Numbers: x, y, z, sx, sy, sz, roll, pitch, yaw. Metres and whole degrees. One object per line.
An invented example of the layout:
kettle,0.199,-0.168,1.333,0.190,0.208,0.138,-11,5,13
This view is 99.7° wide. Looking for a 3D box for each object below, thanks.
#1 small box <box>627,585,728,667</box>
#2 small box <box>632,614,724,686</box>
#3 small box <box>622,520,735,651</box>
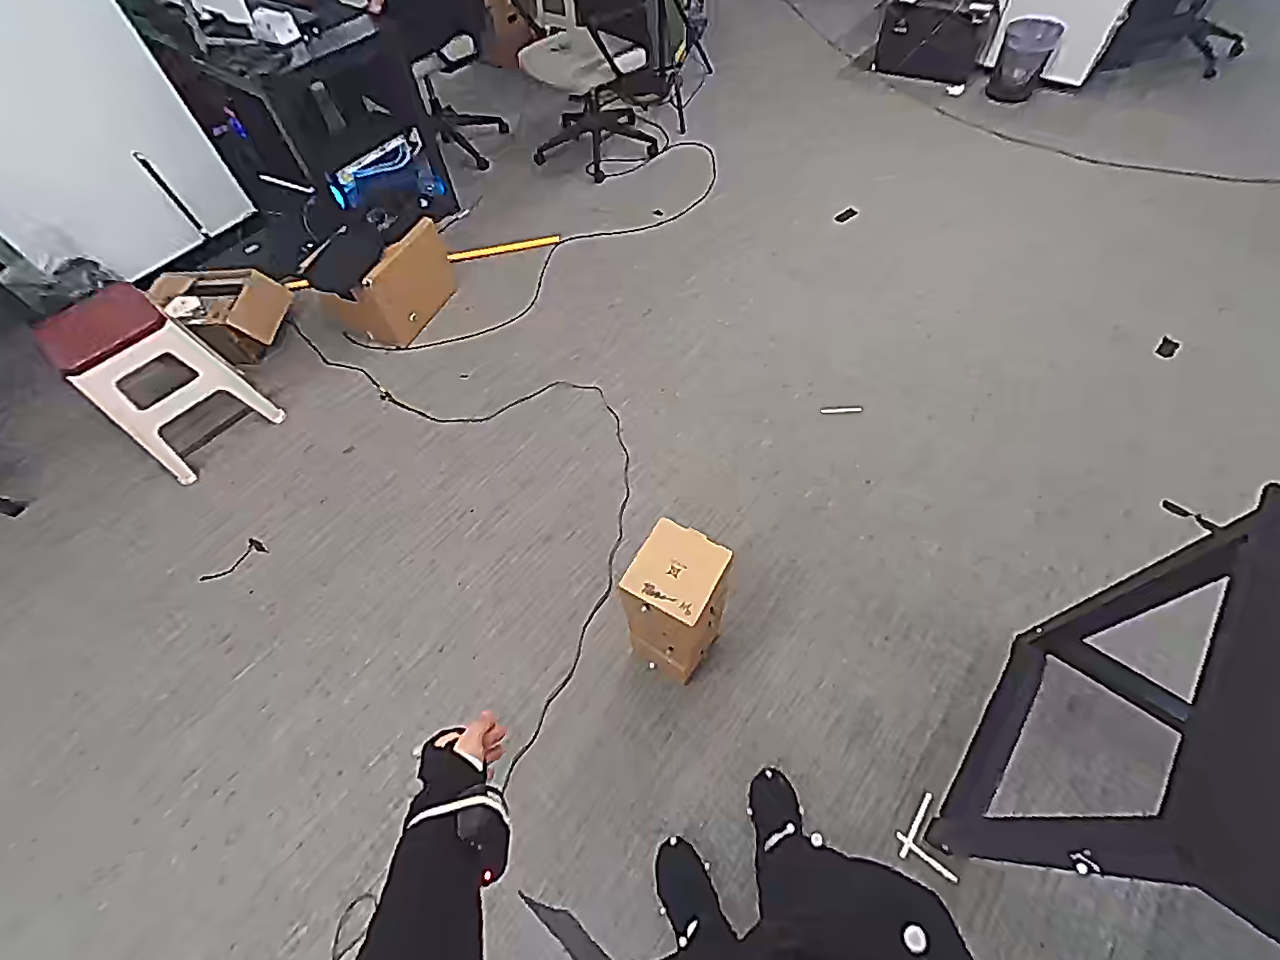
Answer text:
small box,0.089,0.306,1.256,0.168,0.176,0.179,27,61,19
small box,0.096,0.398,1.389,0.168,0.176,0.179,30,65,21
small box,0.078,0.220,1.116,0.168,0.176,0.179,25,62,18
